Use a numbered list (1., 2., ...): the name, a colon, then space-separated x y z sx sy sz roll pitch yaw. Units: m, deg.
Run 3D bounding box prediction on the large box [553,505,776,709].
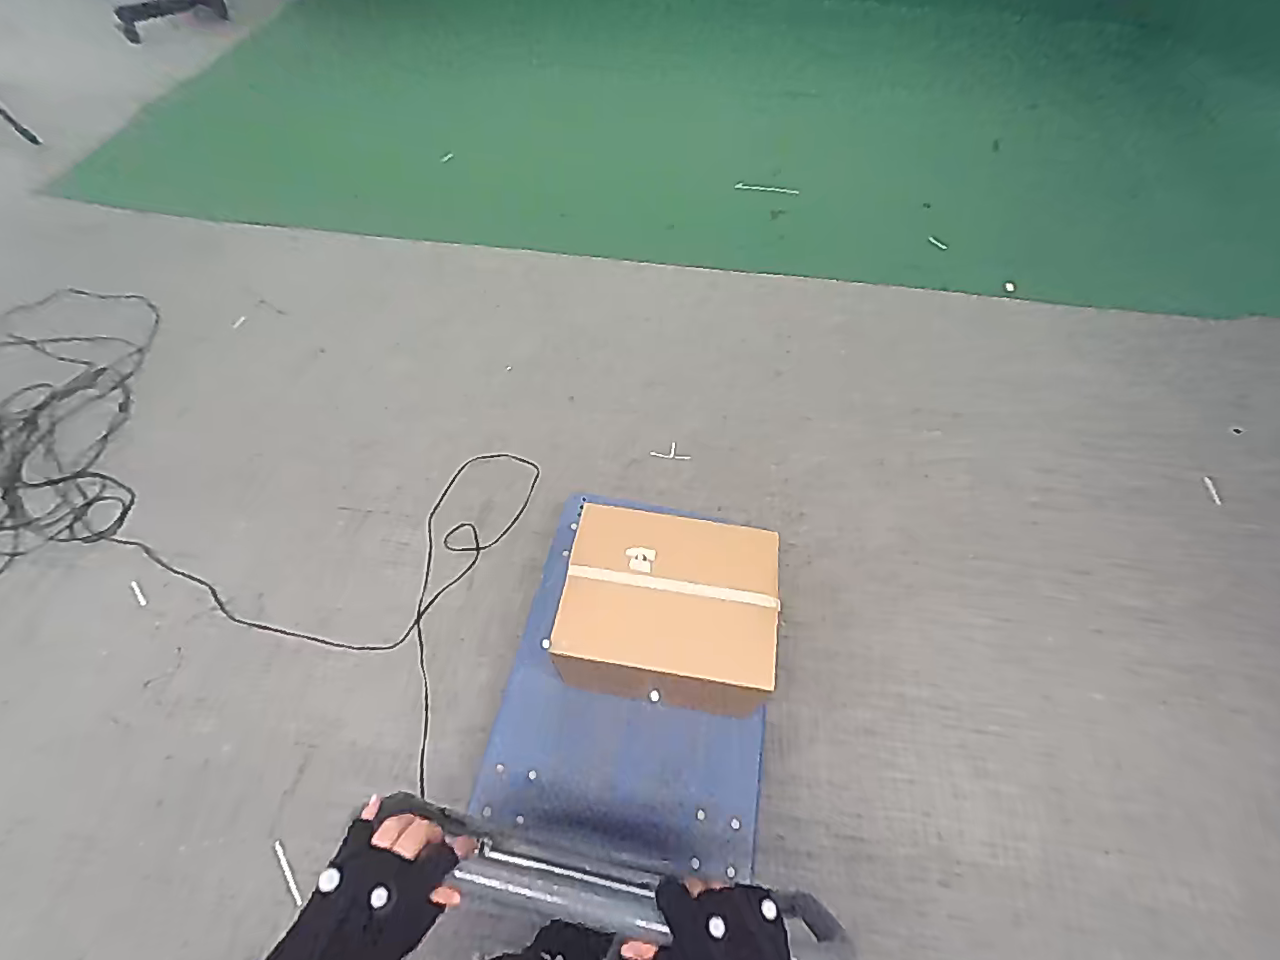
1. large box: 0.060 0.282 1.163 0.408 0.320 0.320 8 57 4
